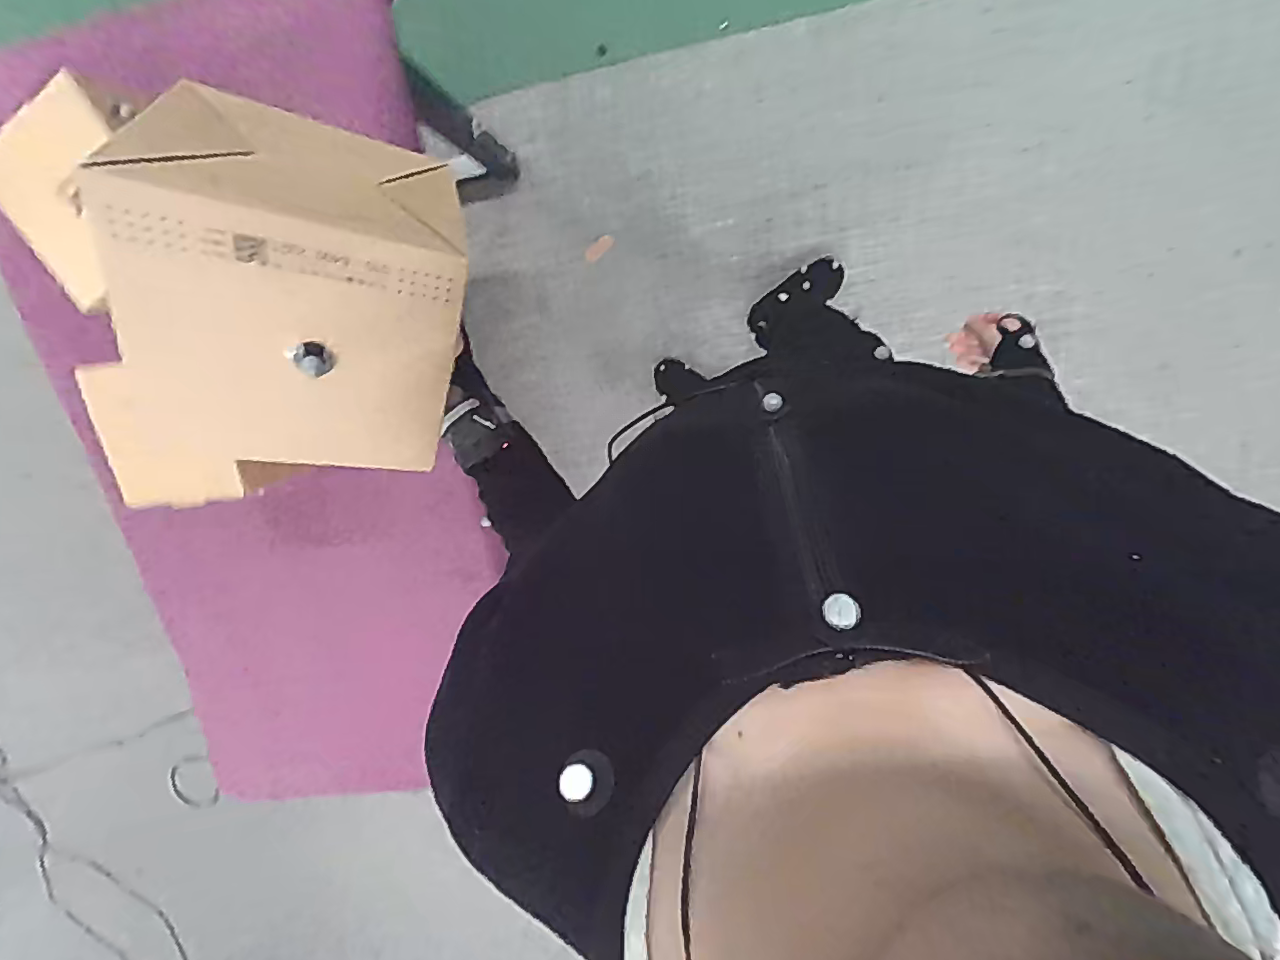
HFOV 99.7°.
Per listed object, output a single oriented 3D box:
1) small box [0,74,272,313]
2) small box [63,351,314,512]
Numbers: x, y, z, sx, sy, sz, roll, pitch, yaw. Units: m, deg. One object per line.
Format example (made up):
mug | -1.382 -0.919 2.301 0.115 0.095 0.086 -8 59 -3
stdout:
small box | -0.598 -0.319 0.644 0.168 0.176 0.179 -28 102 12
small box | -0.571 -0.071 0.714 0.168 0.176 0.179 -4 105 5
